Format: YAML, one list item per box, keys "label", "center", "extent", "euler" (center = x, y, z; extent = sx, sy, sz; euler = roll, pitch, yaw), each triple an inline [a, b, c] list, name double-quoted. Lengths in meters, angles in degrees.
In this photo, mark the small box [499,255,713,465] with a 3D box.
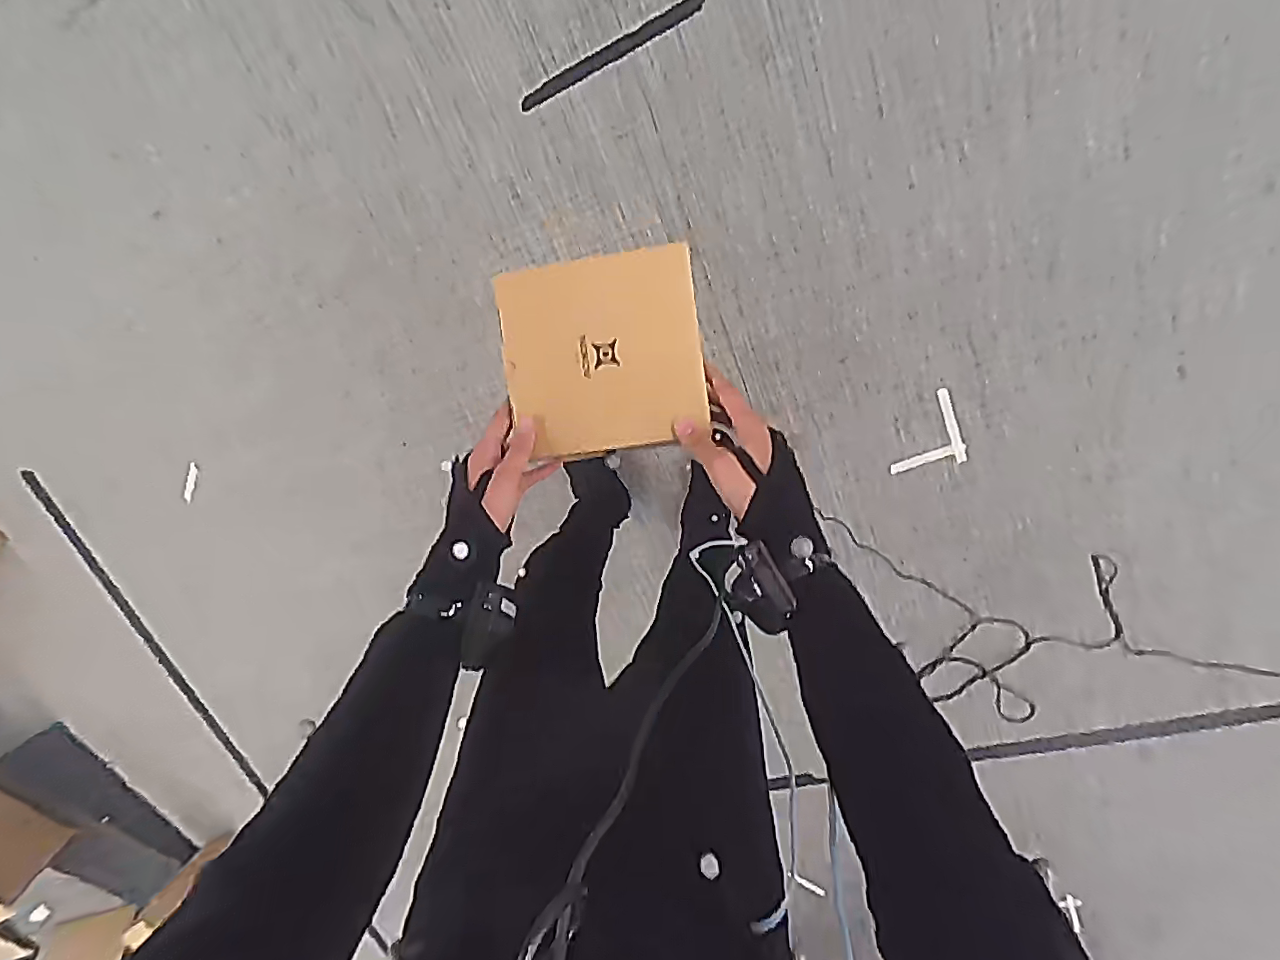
- label: "small box"
  center: [-0.022, -0.110, 0.556]
  extent: [0.179, 0.176, 0.168]
  euler: [-7, 93, 8]
